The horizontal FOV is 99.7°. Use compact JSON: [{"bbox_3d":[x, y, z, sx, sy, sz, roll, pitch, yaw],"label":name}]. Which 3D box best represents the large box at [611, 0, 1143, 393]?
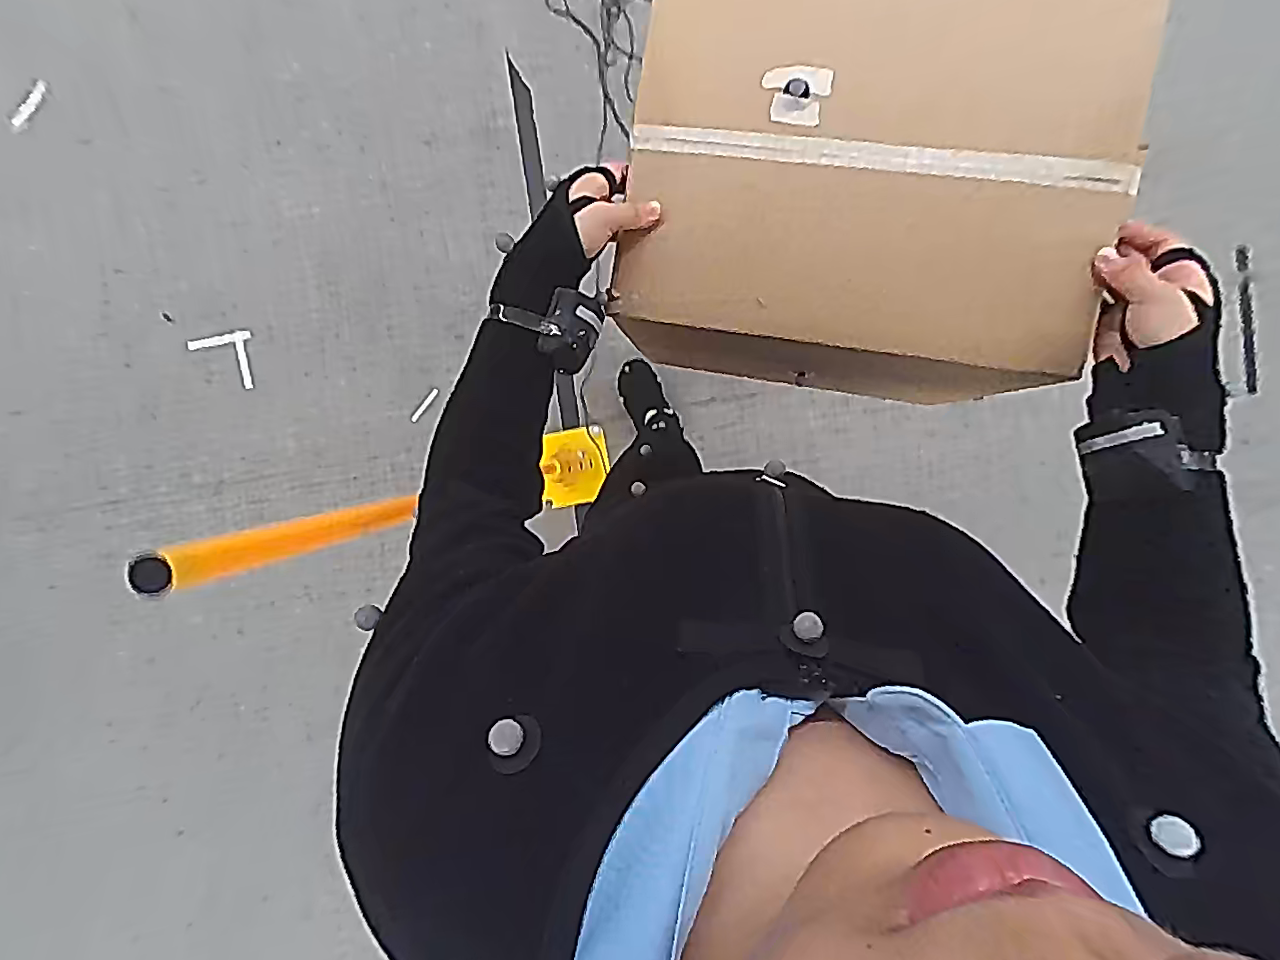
[{"bbox_3d":[0.212,-0.286,0.615,0.408,0.320,0.320,10,94,9],"label":"large box"}]
